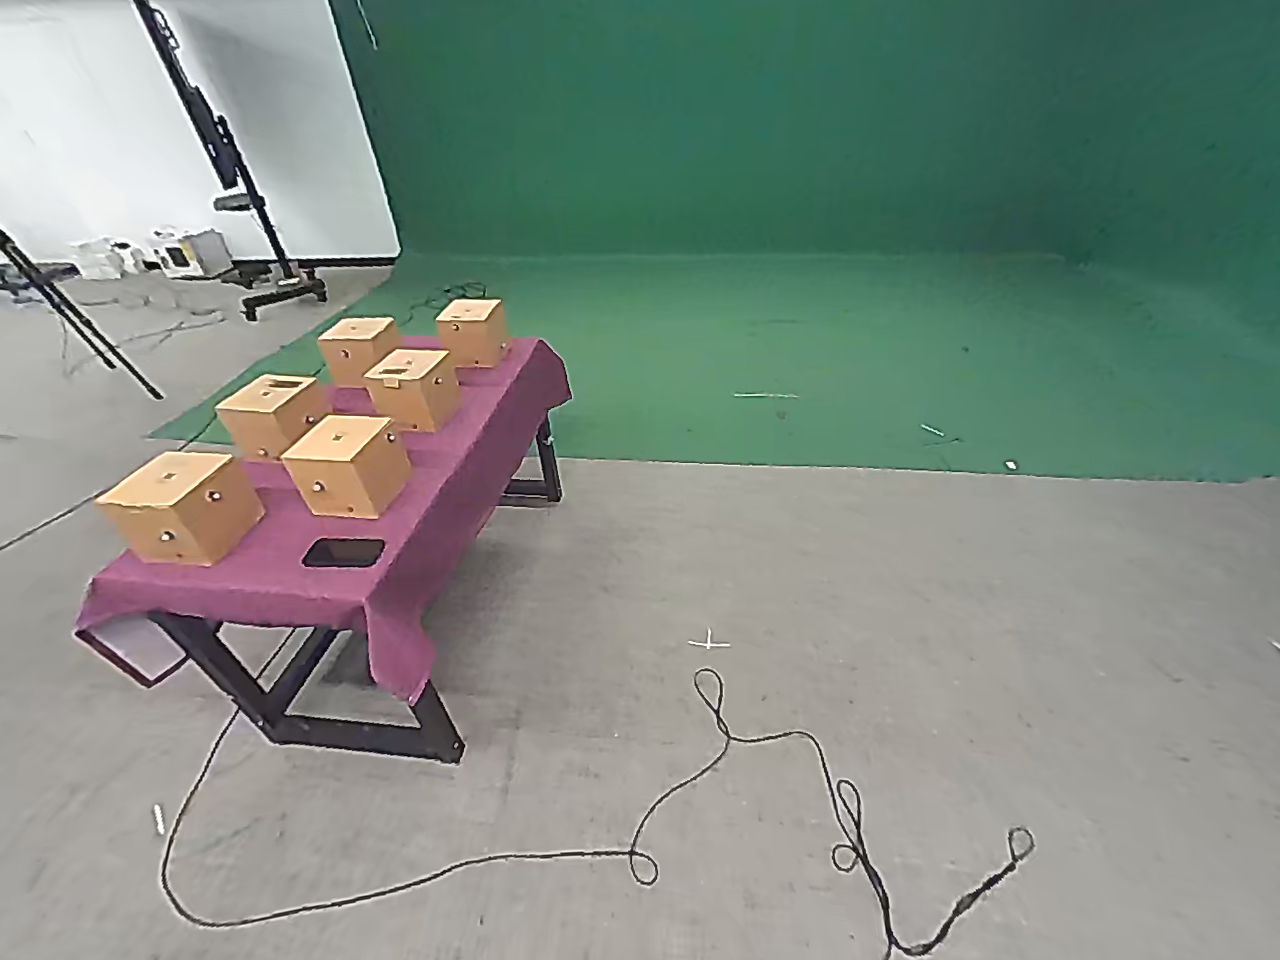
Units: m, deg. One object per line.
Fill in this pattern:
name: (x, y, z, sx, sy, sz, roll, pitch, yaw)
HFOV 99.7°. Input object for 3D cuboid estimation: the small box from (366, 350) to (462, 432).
small box: (-0.622, -0.249, 1.515, 0.168, 0.176, 0.179, 5, 38, 10)

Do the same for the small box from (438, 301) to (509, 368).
small box: (-0.549, -0.490, 1.814, 0.168, 0.176, 0.179, 2, 38, 7)

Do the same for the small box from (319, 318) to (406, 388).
small box: (-0.873, -0.404, 1.730, 0.179, 0.176, 0.168, 1, 39, 6)

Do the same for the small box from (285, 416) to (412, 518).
small box: (-0.654, -0.029, 1.241, 0.168, 0.176, 0.179, 3, 38, 9)
